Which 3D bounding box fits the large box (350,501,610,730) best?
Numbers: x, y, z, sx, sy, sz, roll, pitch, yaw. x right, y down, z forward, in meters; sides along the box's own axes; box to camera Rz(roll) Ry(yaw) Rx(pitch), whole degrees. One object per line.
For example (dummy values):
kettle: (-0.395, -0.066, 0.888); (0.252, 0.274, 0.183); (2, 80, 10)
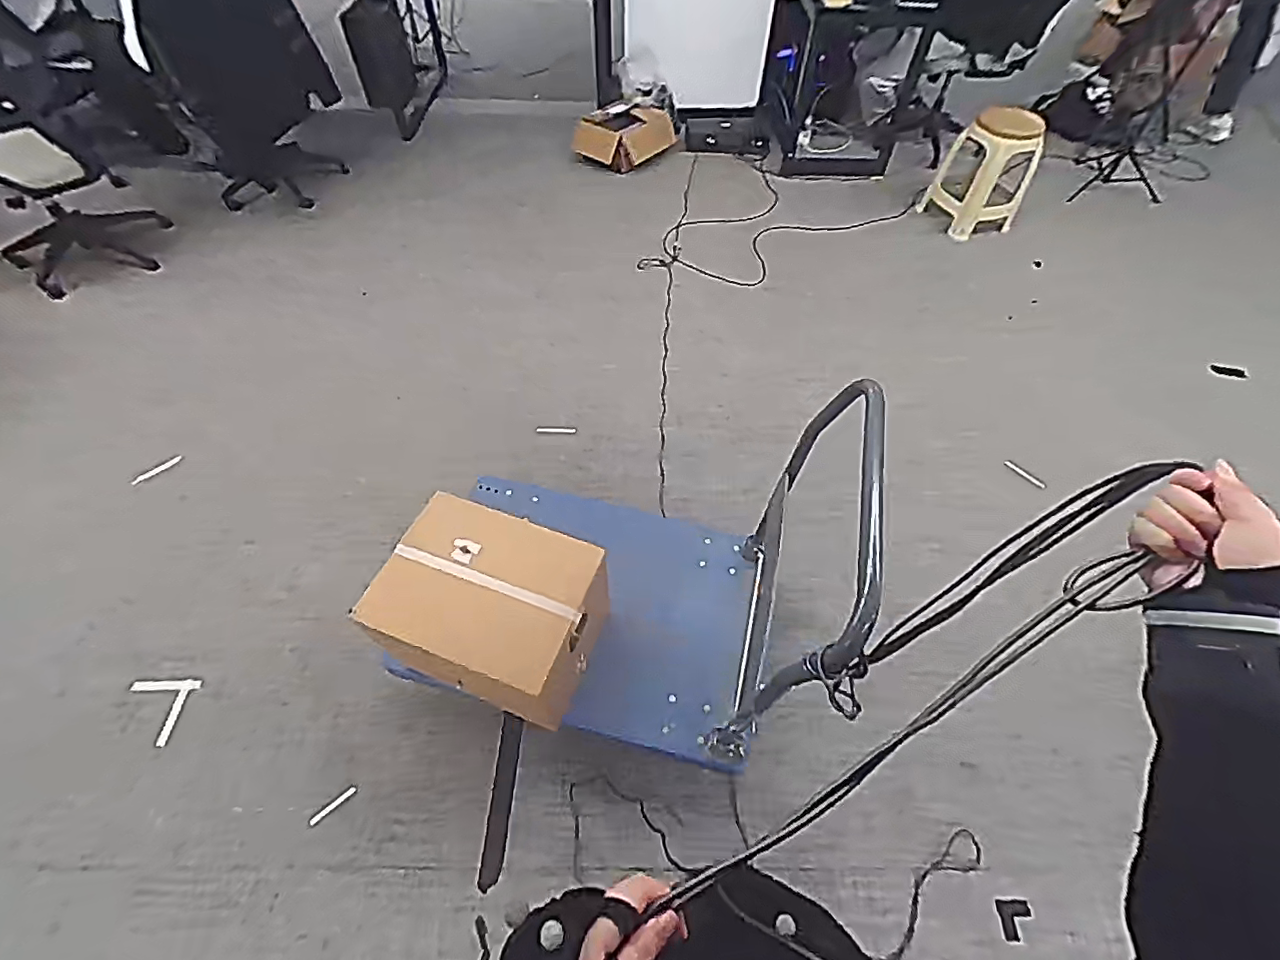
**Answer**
large box: (-0.307, 0.299, 1.176); (0.408, 0.320, 0.320); (17, 55, 11)
